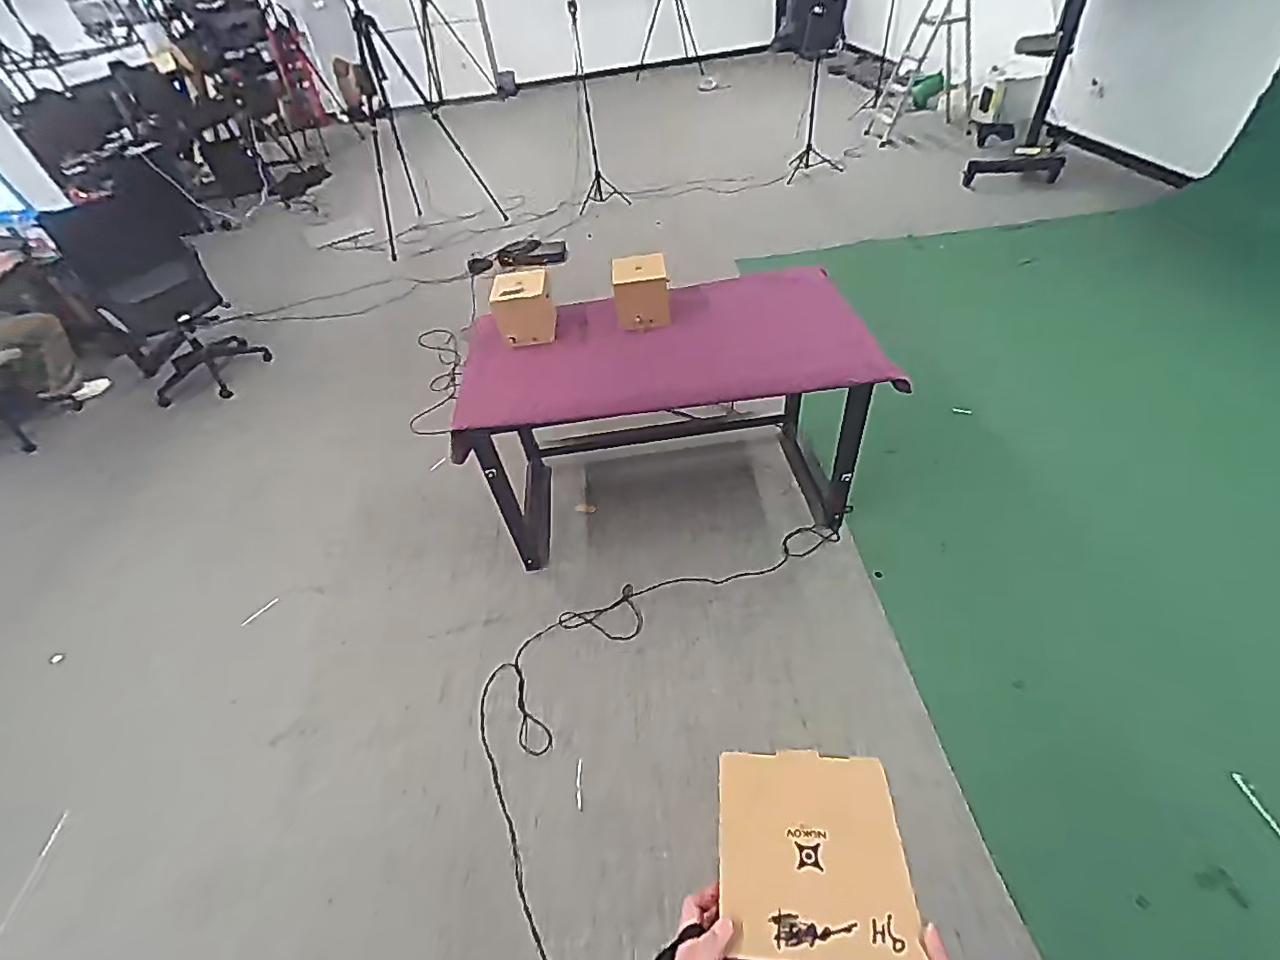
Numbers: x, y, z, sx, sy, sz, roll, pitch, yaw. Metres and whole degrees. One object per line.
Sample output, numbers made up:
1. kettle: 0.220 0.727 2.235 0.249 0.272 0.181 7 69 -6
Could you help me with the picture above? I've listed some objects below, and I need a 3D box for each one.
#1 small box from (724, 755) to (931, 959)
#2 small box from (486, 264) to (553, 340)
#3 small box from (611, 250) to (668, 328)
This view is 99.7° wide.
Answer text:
1. small box: 0.171 0.409 0.542 0.168 0.176 0.179 -3 35 11
2. small box: -0.376 -0.559 1.717 0.168 0.176 0.179 -6 47 1
3. small box: -0.001 -0.607 1.722 0.168 0.176 0.179 -5 47 3
